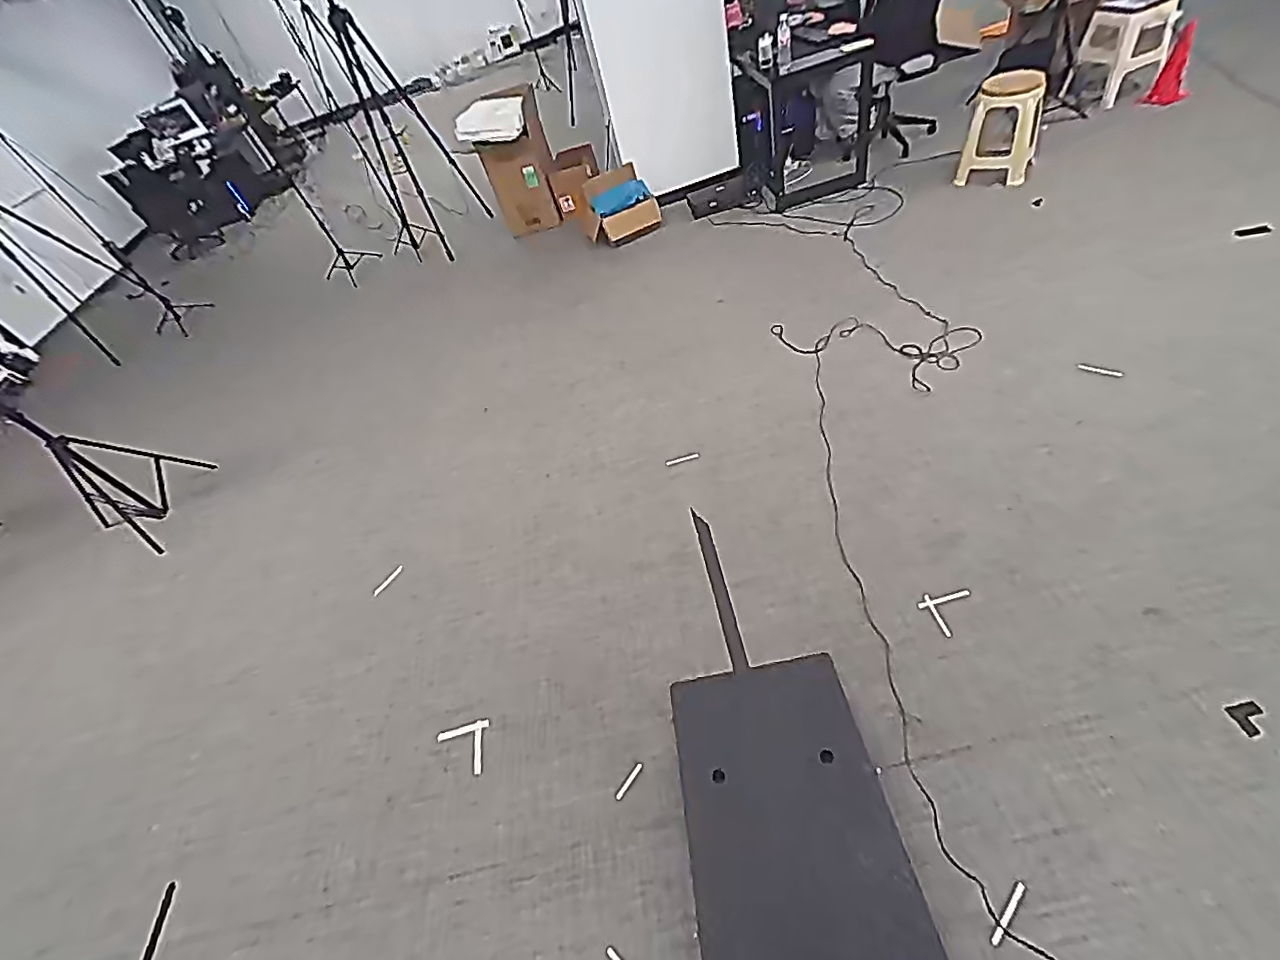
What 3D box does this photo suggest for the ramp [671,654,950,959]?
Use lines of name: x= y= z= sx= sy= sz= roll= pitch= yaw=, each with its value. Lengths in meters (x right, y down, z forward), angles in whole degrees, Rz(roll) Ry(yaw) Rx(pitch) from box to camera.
ramp: x=0.357 y=0.879 z=1.241 sx=0.509 sy=0.206 sz=0.991 roll=-16 pitch=46 yaw=6
